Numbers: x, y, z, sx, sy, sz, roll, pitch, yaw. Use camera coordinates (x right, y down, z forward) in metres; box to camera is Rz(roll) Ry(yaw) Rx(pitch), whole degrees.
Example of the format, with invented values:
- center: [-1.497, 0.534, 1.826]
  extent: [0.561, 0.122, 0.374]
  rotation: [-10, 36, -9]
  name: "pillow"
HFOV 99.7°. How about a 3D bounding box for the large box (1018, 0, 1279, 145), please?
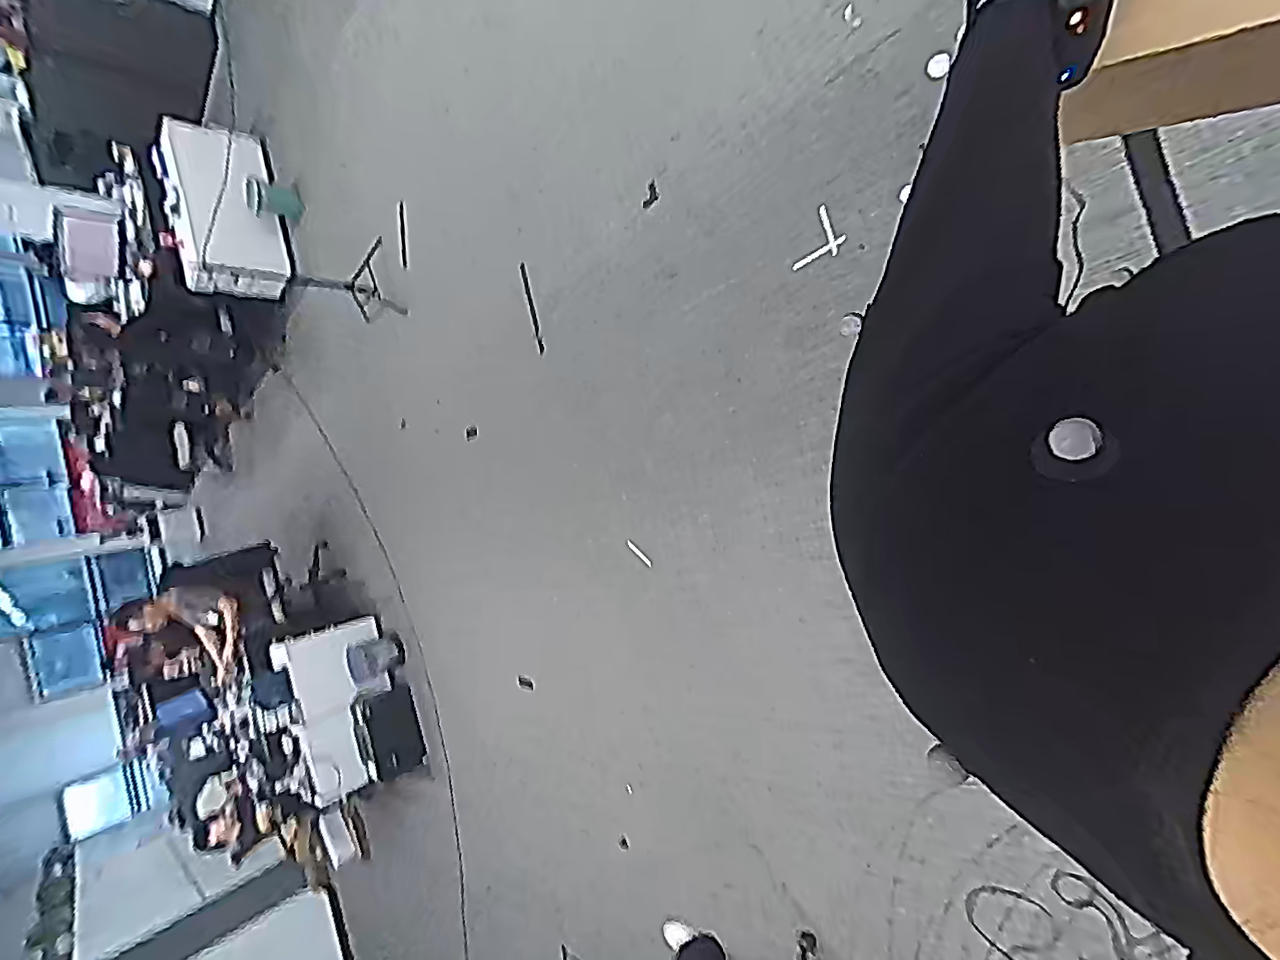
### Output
- center: [0.564, -0.500, 0.408]
  extent: [0.408, 0.320, 0.320]
  rotation: [10, 111, 40]
  name: "large box"
